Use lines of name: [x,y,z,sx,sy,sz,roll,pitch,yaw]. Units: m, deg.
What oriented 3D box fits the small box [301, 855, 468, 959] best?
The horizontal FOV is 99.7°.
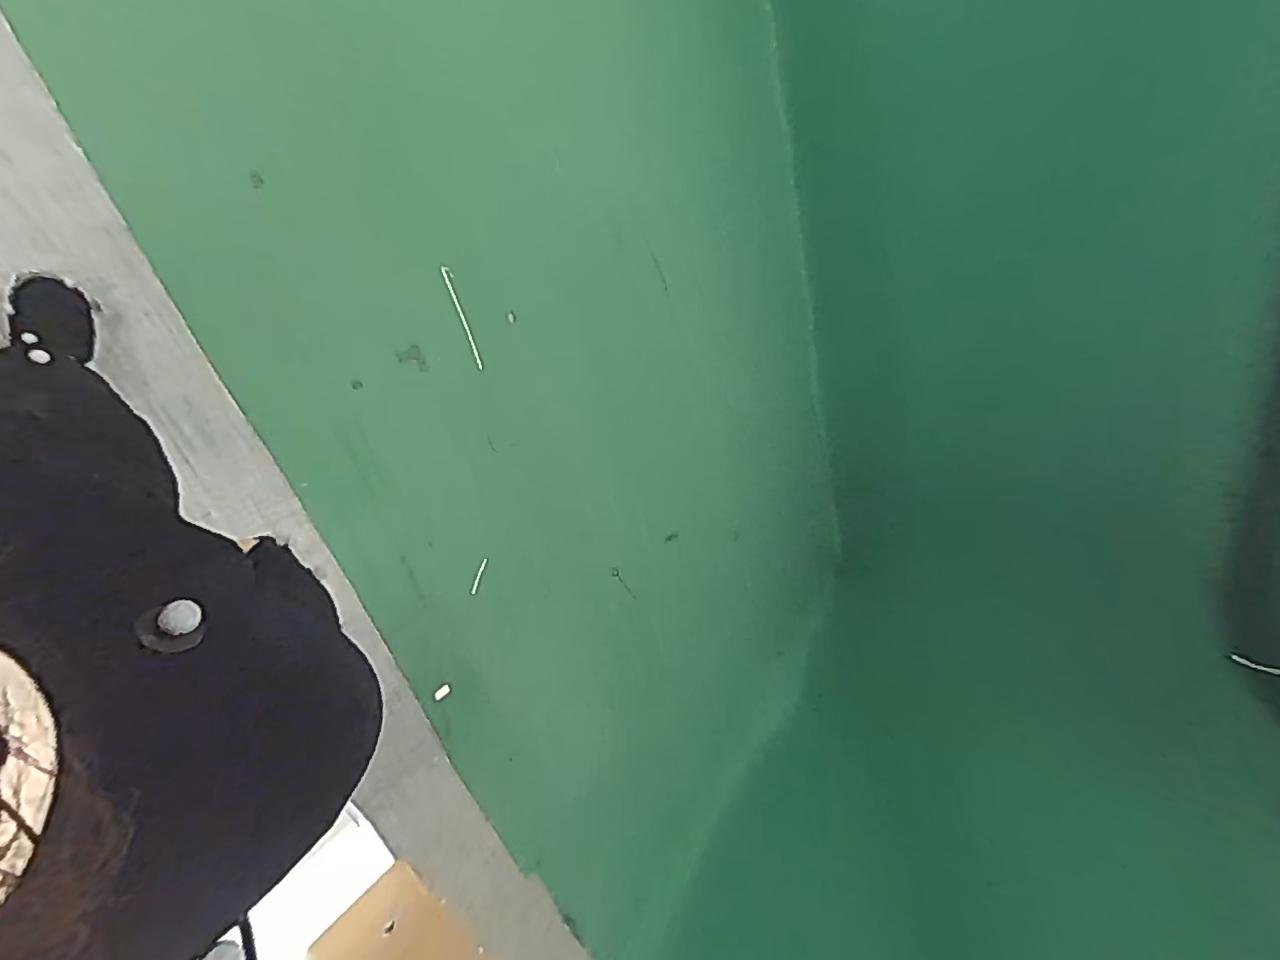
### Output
small box: [-0.438,0.804,0.931,0.179,0.176,0.168,-36,120,-41]
